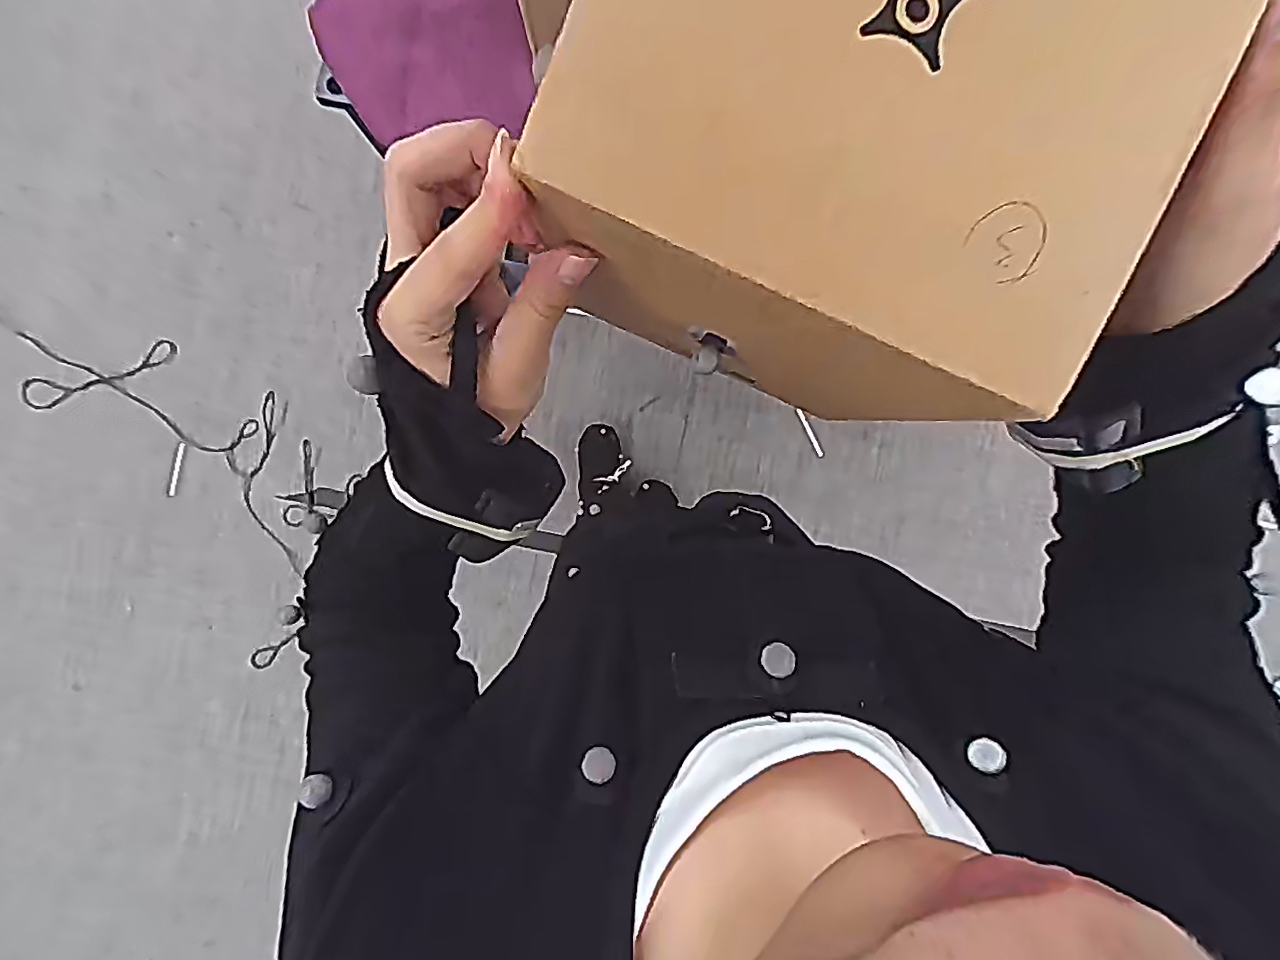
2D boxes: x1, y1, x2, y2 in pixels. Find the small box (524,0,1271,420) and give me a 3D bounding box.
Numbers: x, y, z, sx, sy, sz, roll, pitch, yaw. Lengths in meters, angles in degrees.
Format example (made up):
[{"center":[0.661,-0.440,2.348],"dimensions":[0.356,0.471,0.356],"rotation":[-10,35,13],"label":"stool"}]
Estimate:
[{"center":[0.074,-0.135,0.221],"dimensions":[0.168,0.176,0.179],"rotation":[23,94,-5],"label":"small box"}]
